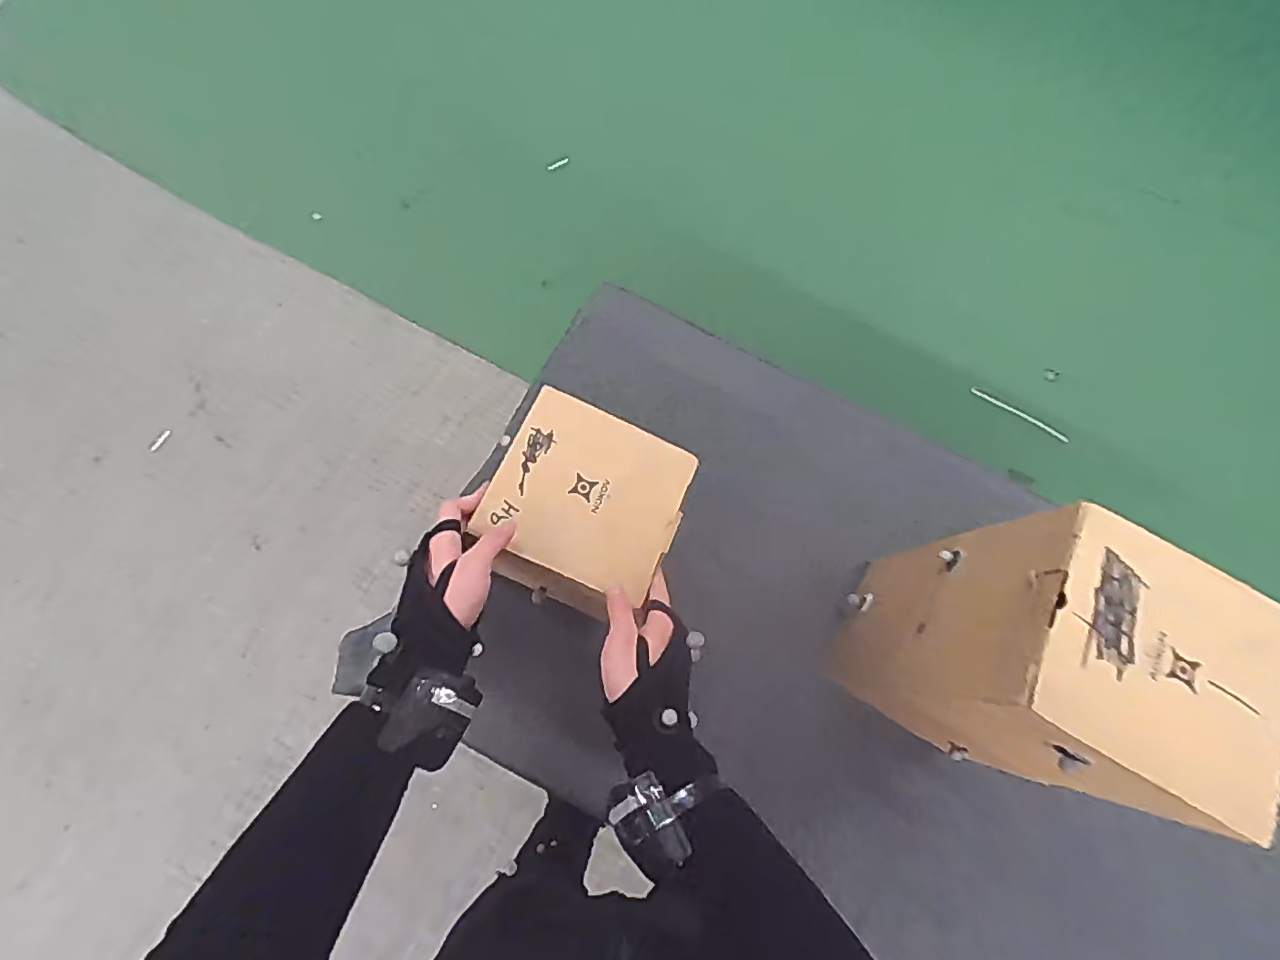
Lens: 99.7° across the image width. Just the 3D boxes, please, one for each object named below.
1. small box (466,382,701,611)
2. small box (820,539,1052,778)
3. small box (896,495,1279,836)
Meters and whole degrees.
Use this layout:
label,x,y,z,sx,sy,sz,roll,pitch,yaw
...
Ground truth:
label,x,y,z,sx,sy,sz,roll,pitch,yaw
small box,-0.065,0.032,0.579,0.179,0.176,0.168,26,67,-6
small box,0.336,0.188,0.601,0.179,0.176,0.168,30,73,5
small box,0.351,0.140,0.444,0.179,0.176,0.168,30,74,2
